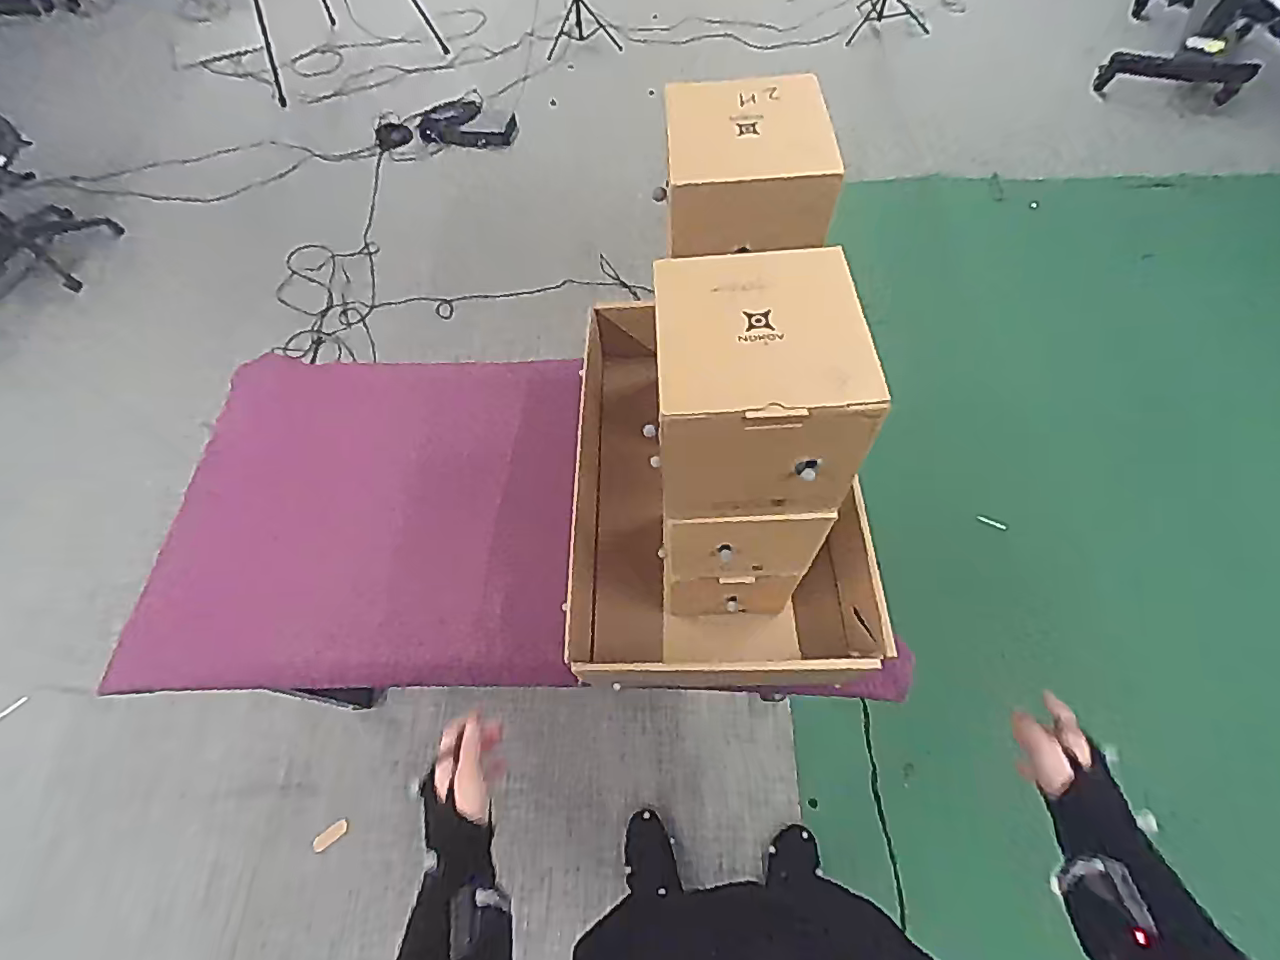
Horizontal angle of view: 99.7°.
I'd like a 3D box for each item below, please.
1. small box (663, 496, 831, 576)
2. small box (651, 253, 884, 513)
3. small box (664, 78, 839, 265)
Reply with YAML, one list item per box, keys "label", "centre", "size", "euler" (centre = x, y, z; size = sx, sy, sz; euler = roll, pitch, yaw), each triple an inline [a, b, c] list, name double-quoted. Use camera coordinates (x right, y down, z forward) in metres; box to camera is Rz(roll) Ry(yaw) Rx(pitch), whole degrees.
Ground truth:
- label: "small box"
  centre: [0.112, 0.008, 0.635]
  size: [0.168, 0.176, 0.179]
  euler: [-3, 59, 4]
- label: "small box"
  centre: [0.098, -0.077, 0.496]
  size: [0.168, 0.176, 0.179]
  euler: [-3, 59, 2]
- label: "small box"
  centre: [0.113, -0.317, 0.620]
  size: [0.168, 0.176, 0.179]
  euler: [-2, 62, 3]
